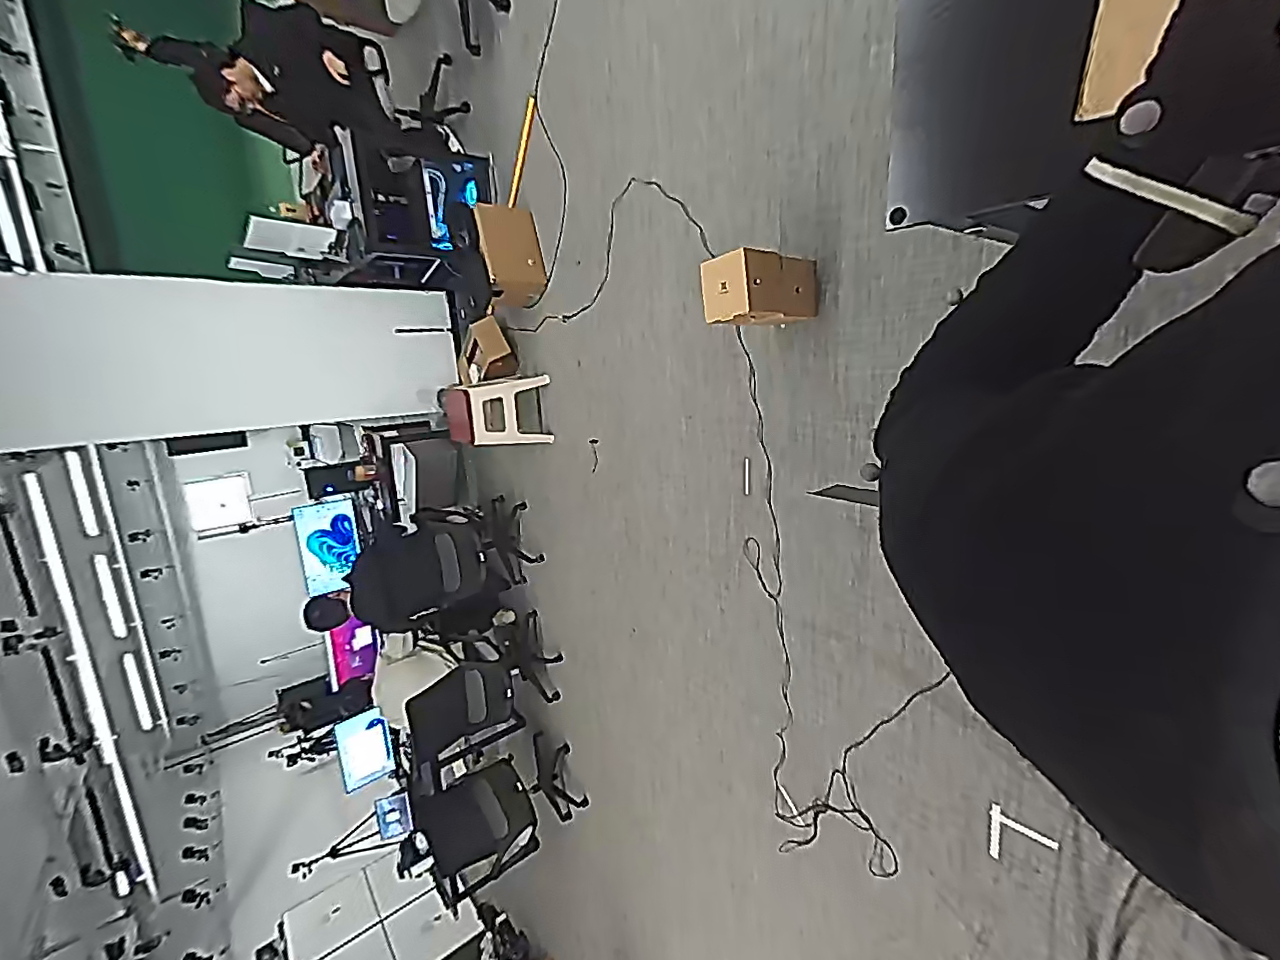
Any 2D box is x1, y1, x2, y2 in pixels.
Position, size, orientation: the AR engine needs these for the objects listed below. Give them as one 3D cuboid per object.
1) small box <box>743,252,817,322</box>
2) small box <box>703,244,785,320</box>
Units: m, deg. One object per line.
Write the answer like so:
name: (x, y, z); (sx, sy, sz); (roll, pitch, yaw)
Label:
small box: (0.433, -0.591, 1.675); (0.168, 0.176, 0.179); (7, 106, 51)
small box: (0.306, -0.569, 1.575); (0.168, 0.176, 0.179); (3, 101, 51)
